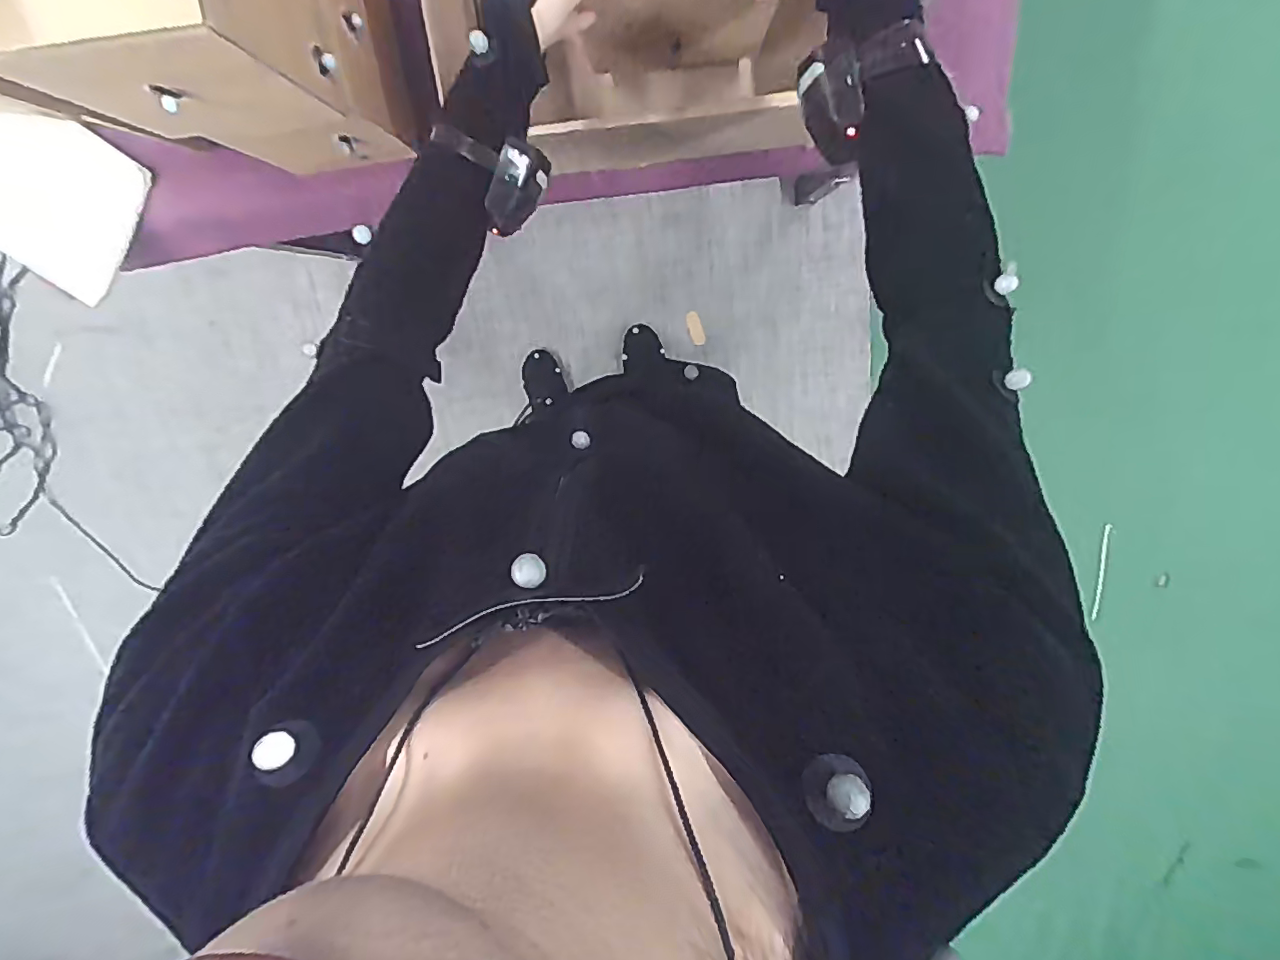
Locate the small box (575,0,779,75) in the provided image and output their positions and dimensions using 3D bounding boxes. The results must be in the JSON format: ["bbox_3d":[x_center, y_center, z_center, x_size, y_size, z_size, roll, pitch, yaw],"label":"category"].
[{"bbox_3d":[0.029,-0.478,0.458,0.179,0.176,0.168,-4,105,1],"label":"small box"}]

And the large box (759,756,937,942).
[{"bbox_3d":[0.644,1.164,1.729,0.408,0.320,0.320,-21,106,7],"label":"large box"}]

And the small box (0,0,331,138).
[{"bbox_3d":[-0.366,-0.382,0.406,0.179,0.176,0.168,-6,106,3],"label":"small box"}]
